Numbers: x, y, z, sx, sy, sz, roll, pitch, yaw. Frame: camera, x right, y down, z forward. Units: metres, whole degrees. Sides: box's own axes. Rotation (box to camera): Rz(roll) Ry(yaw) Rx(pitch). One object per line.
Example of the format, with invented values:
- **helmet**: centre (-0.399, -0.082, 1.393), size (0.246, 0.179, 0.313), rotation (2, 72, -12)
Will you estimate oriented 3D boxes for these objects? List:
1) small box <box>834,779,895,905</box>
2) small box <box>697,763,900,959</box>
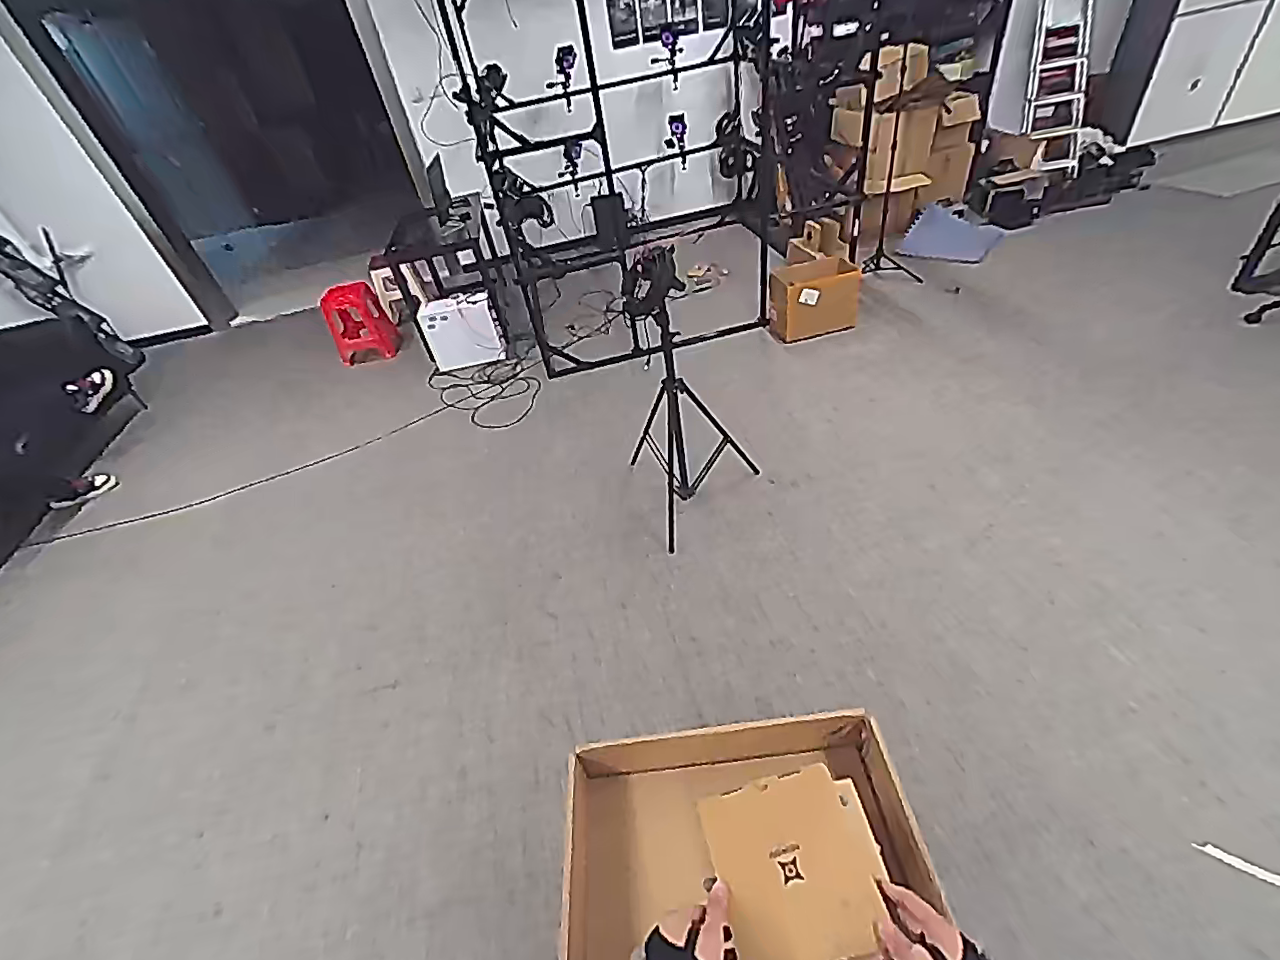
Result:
- **small box**: centre (0.318, 0.656, 0.941), size (0.168, 0.176, 0.179), rotation (-10, 39, 1)
- **small box**: centre (0.178, 0.473, 0.645), size (0.168, 0.176, 0.179), rotation (-16, 46, -2)
